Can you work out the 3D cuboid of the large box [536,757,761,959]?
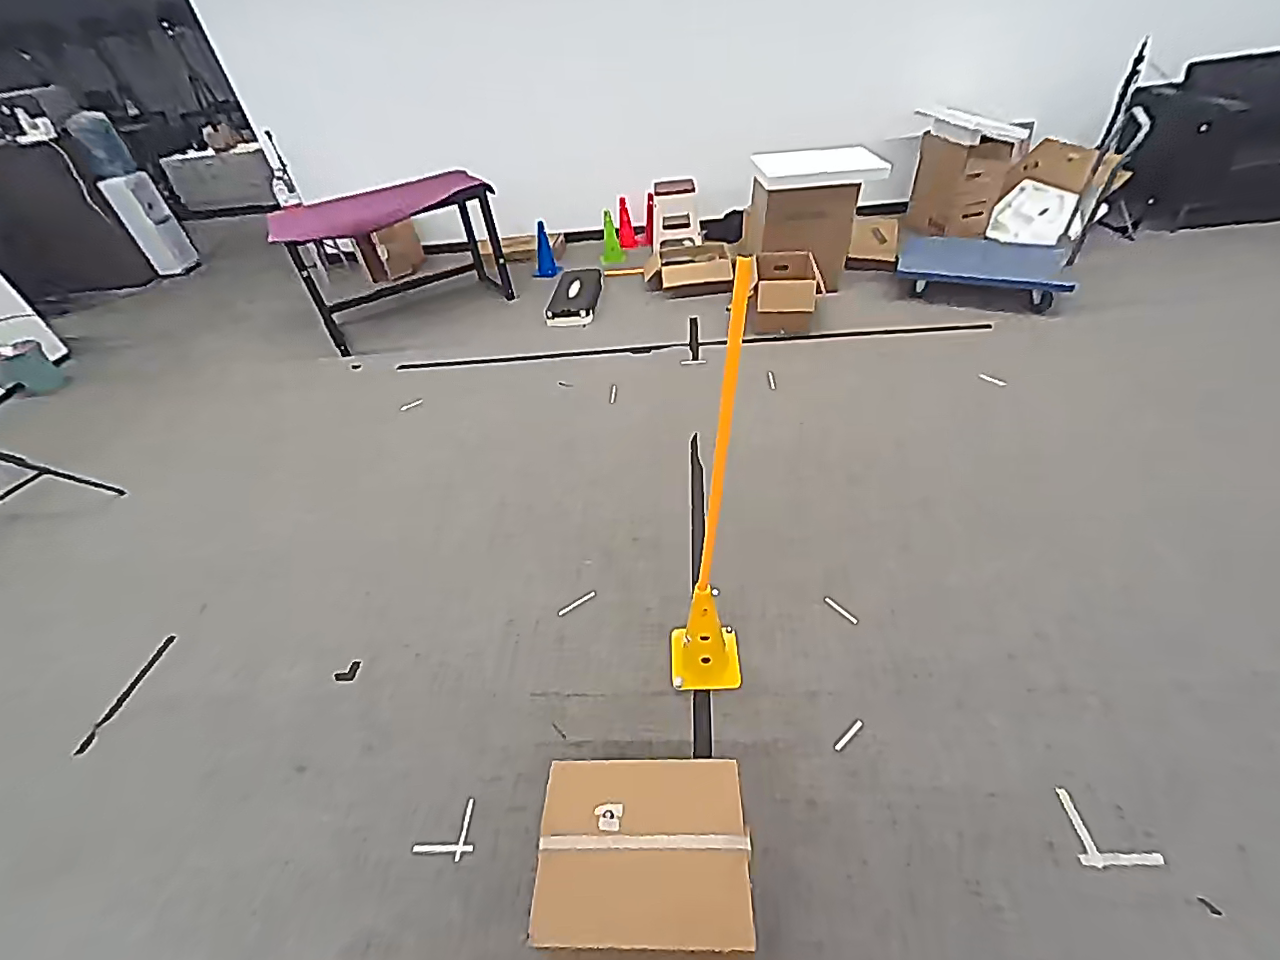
[{"bbox_3d":[0.032,0.818,1.152,0.408,0.320,0.320,-5,41,6],"label":"large box"}]
